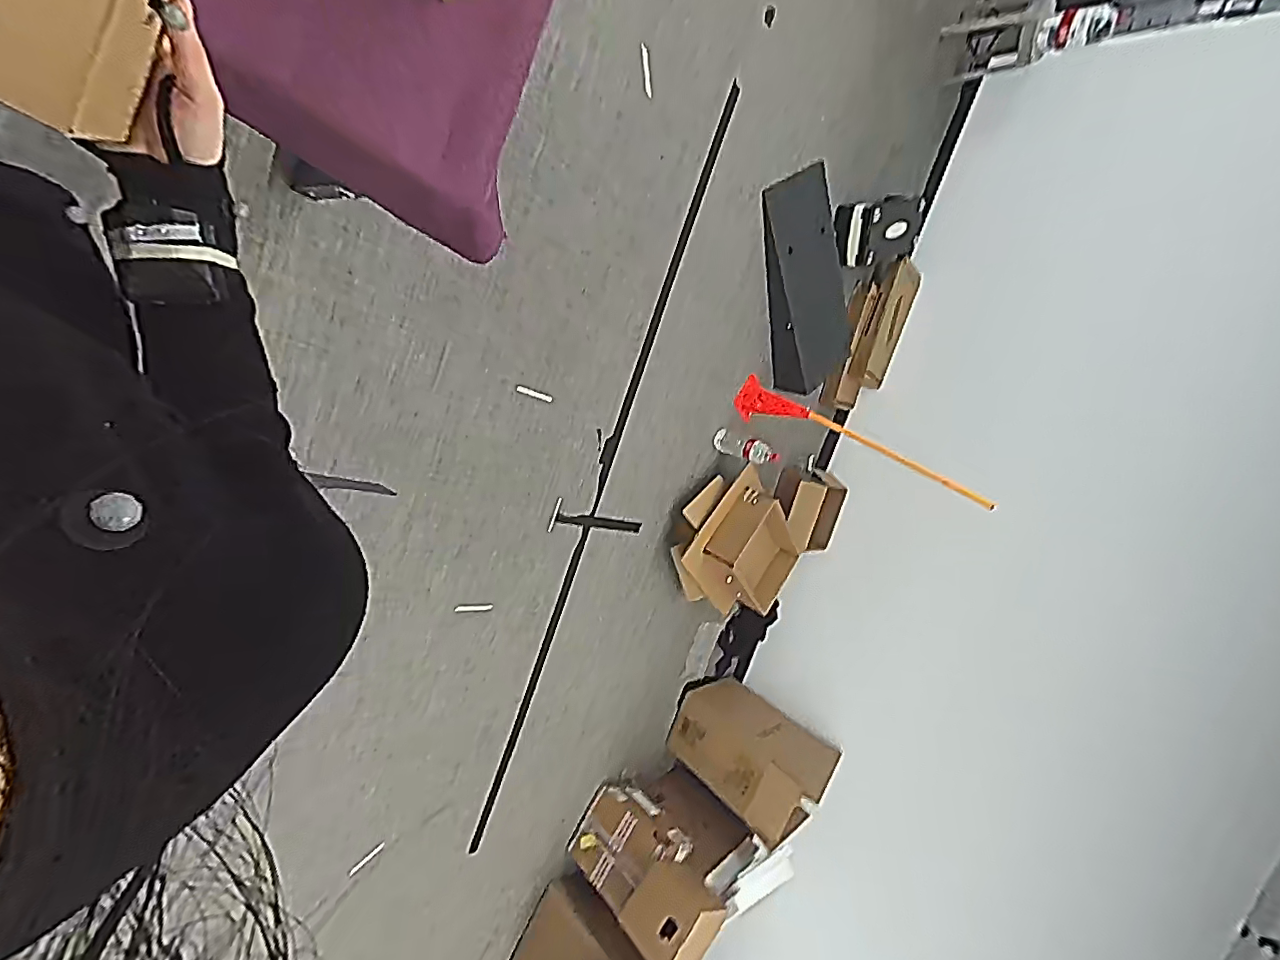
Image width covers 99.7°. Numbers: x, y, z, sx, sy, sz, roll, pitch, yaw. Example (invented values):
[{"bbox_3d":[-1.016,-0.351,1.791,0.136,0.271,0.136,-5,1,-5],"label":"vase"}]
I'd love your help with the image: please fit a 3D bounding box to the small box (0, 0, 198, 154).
[{"bbox_3d":[-0.318,-0.287,0.249,0.168,0.176,0.179,22,102,-43],"label":"small box"}]
